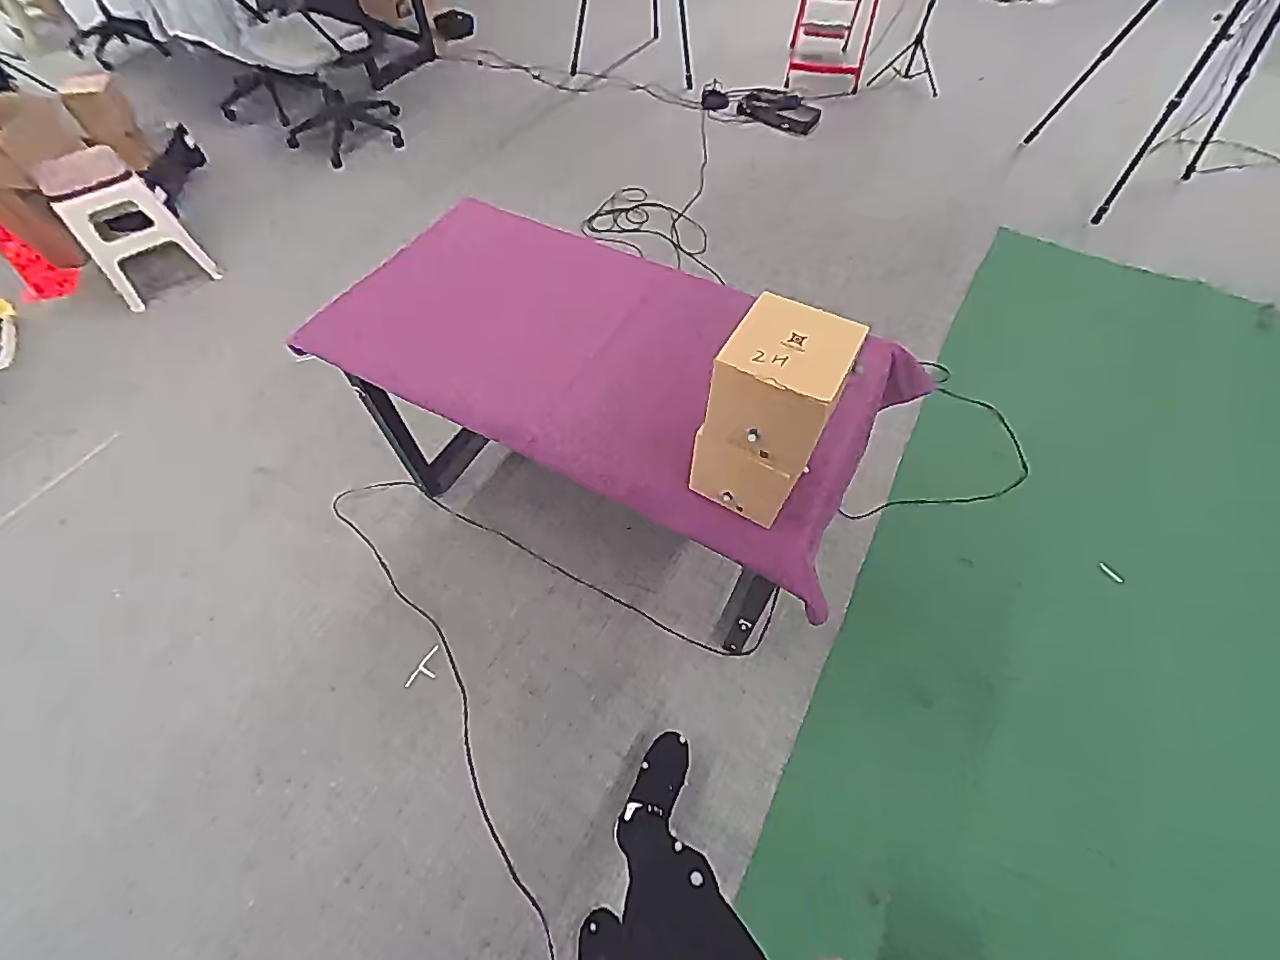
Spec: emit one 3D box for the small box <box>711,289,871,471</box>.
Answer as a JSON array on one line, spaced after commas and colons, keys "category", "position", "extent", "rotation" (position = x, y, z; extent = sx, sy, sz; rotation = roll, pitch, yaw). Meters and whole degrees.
[{"category": "small box", "position": [0.217, -0.148, 0.816], "extent": [0.168, 0.176, 0.179], "rotation": [26, 61, 17]}]
